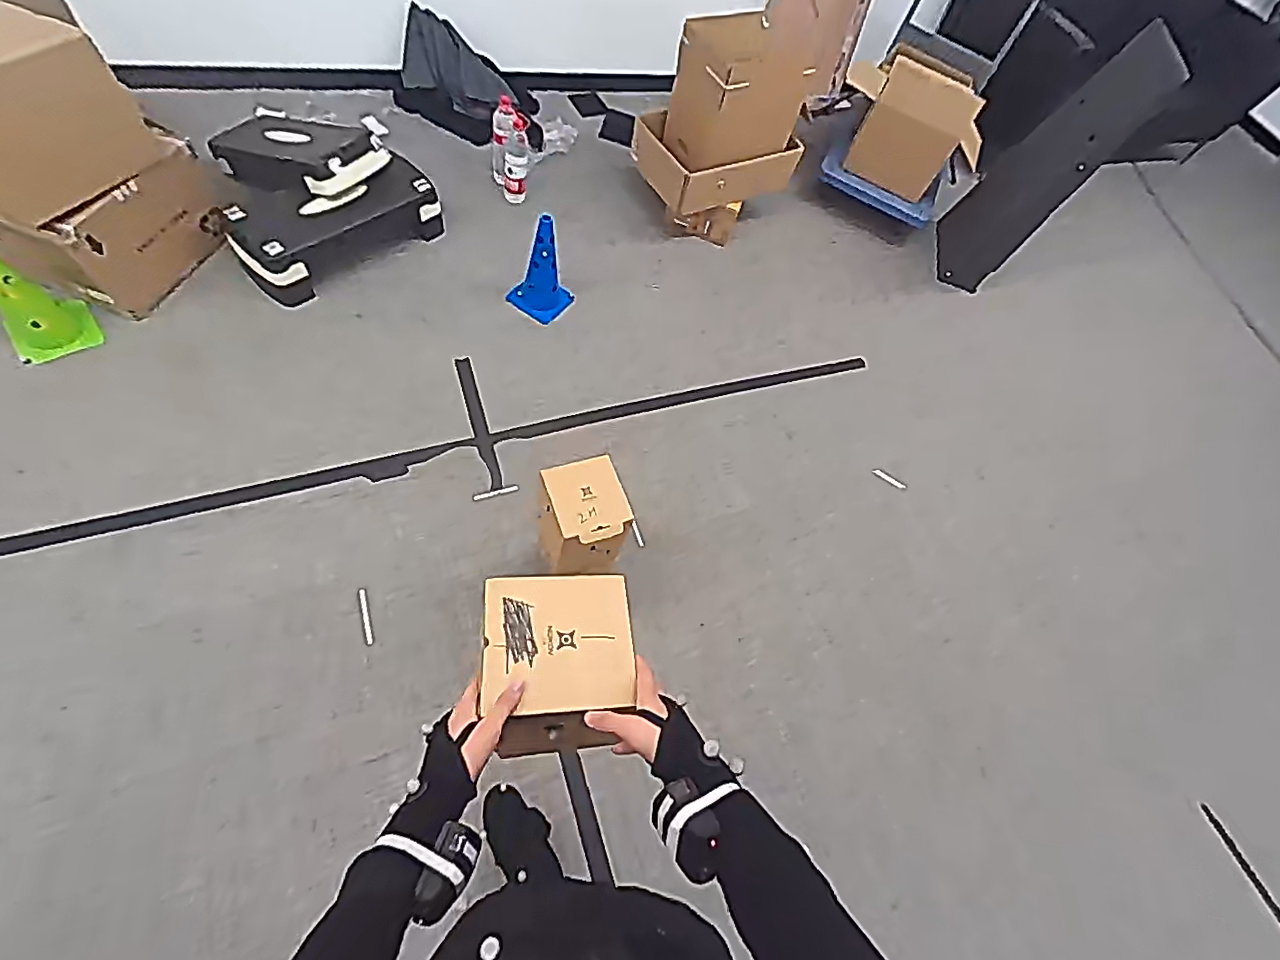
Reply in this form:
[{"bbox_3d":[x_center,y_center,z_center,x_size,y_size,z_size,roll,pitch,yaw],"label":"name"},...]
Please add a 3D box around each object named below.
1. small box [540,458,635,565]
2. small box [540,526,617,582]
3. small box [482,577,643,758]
[{"bbox_3d":[-0.131,0.077,1.264,0.168,0.176,0.179,-14,67,-20],"label":"small box"},{"bbox_3d":[-0.182,0.216,1.561,0.168,0.176,0.179,-18,68,-21],"label":"small box"},{"bbox_3d":[-0.098,0.242,0.692,0.179,0.176,0.168,-3,52,-9],"label":"small box"}]
